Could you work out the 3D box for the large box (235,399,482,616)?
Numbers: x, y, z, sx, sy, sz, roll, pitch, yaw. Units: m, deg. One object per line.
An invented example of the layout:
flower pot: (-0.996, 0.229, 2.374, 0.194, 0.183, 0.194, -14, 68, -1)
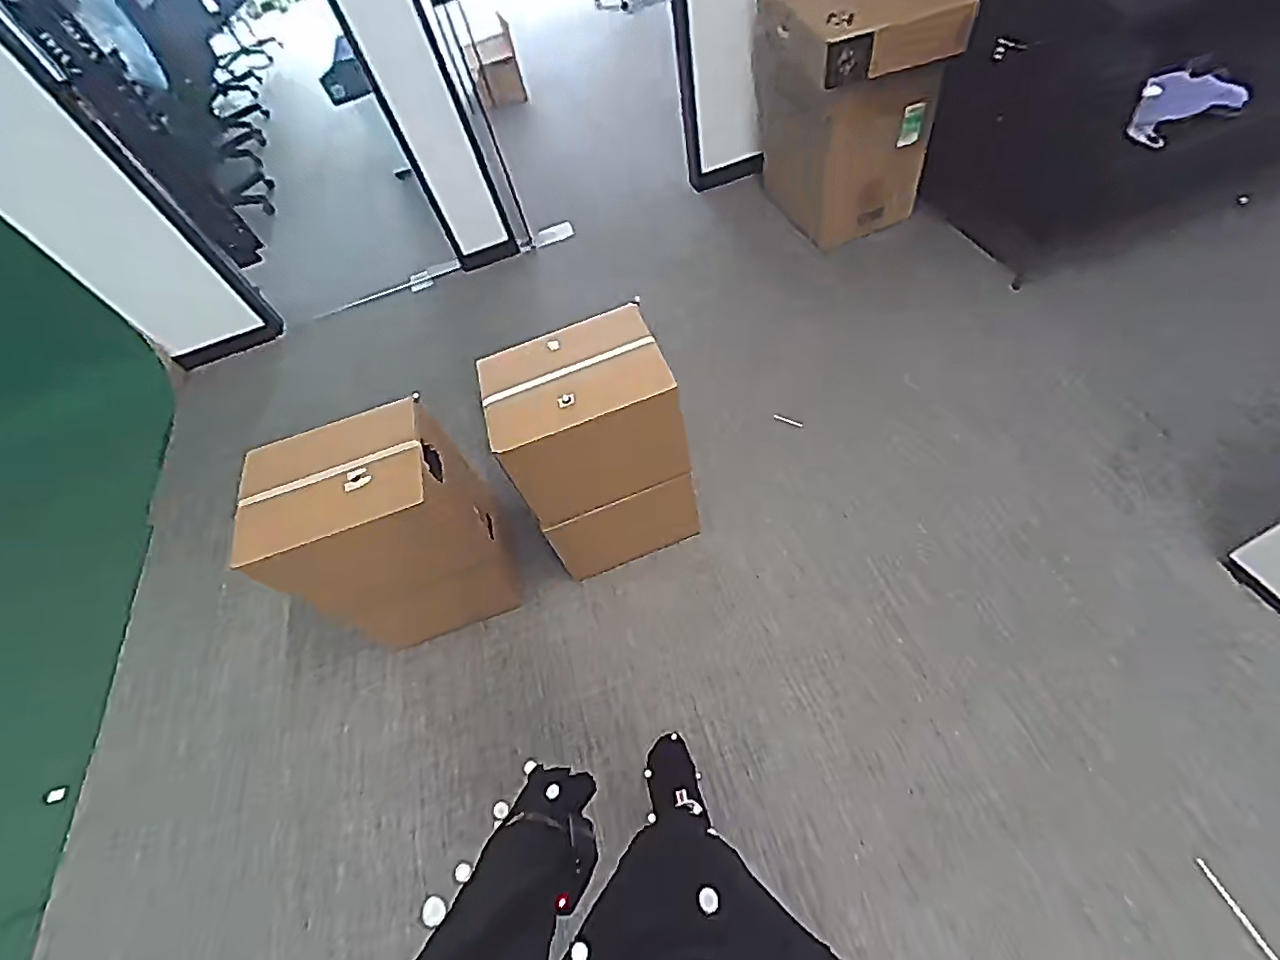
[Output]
large box: (-0.636, 0.072, 1.283, 0.408, 0.320, 0.320, -18, 56, -3)
